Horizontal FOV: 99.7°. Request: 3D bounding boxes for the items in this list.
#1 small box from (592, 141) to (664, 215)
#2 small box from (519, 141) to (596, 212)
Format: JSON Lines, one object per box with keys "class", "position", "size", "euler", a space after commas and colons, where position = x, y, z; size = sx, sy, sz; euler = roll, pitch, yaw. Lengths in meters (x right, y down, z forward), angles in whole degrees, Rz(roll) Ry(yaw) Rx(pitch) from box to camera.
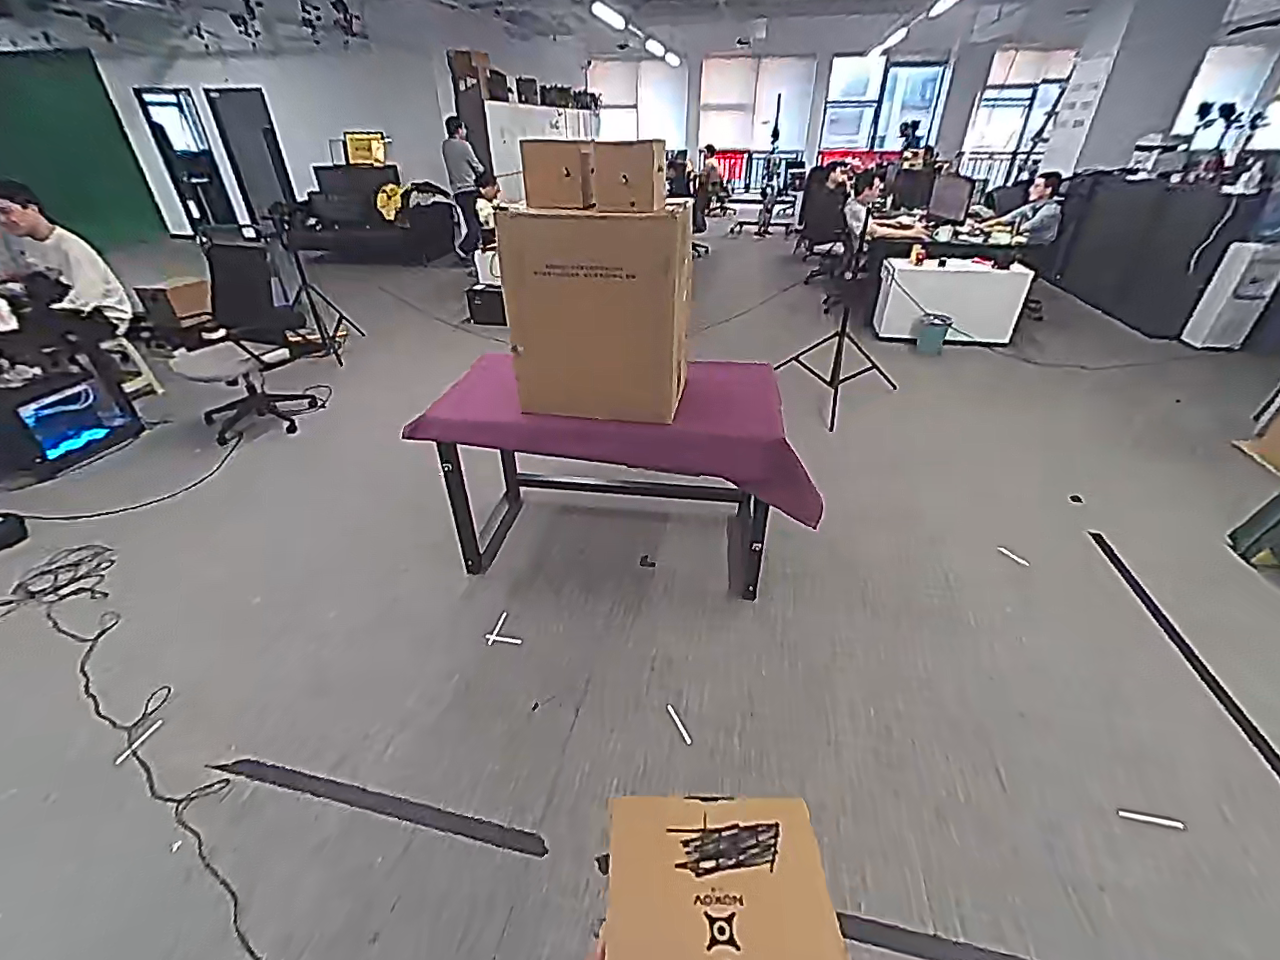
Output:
{"class": "small box", "position": [-0.025, -0.836, 1.497], "size": [0.168, 0.176, 0.179], "euler": [6, 33, 10]}
{"class": "small box", "position": [-0.231, -0.885, 1.575], "size": [0.179, 0.176, 0.168], "euler": [5, 33, 9]}
